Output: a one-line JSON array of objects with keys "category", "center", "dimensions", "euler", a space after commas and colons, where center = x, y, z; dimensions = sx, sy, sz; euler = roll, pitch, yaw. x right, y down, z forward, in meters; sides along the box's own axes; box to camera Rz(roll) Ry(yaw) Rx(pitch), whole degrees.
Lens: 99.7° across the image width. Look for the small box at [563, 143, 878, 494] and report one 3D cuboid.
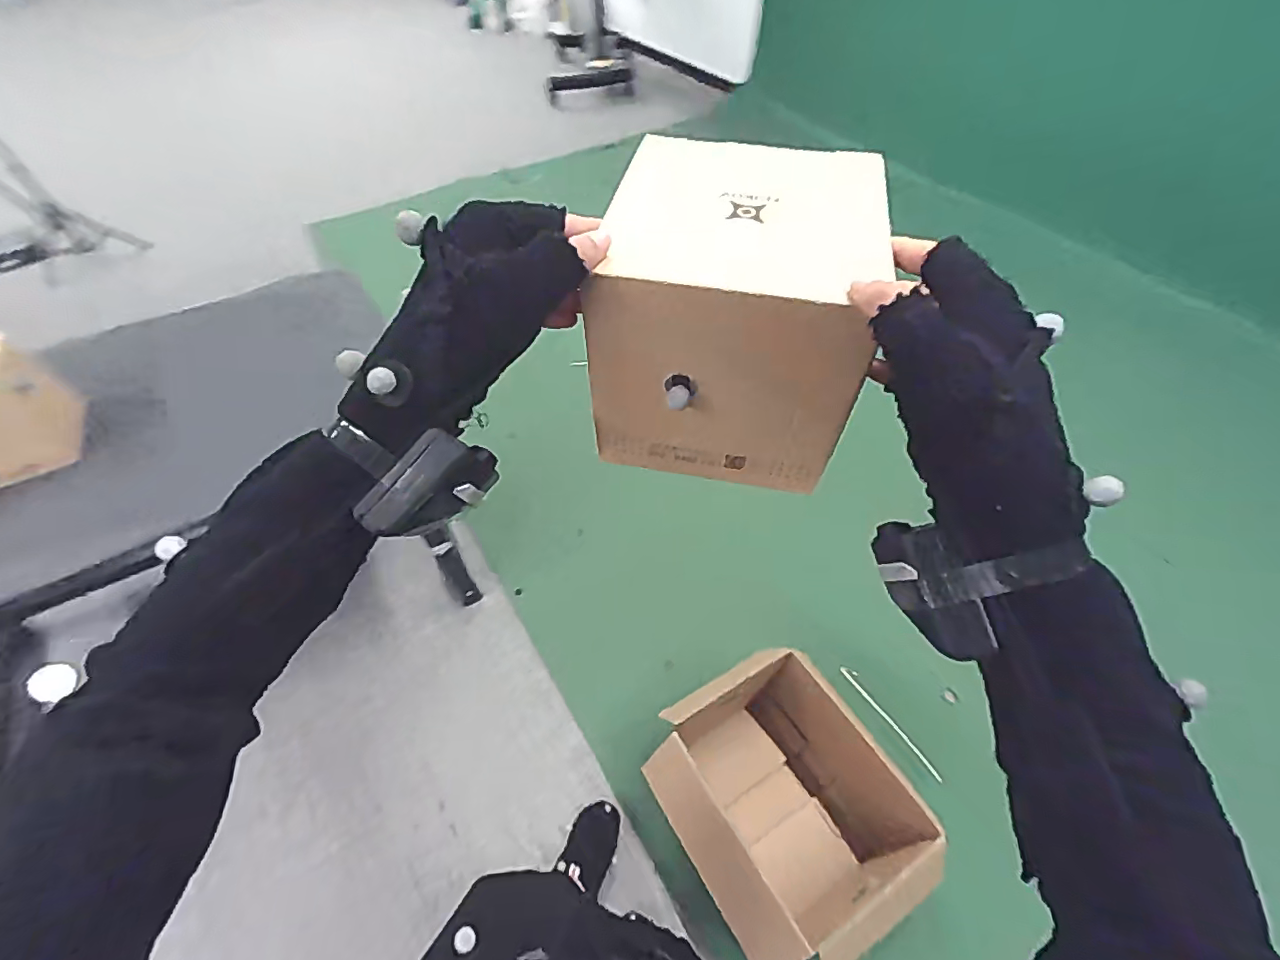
[{"category": "small box", "center": [0.056, -0.111, 0.388], "dimensions": [0.168, 0.176, 0.179], "euler": [9, 53, 7]}]
